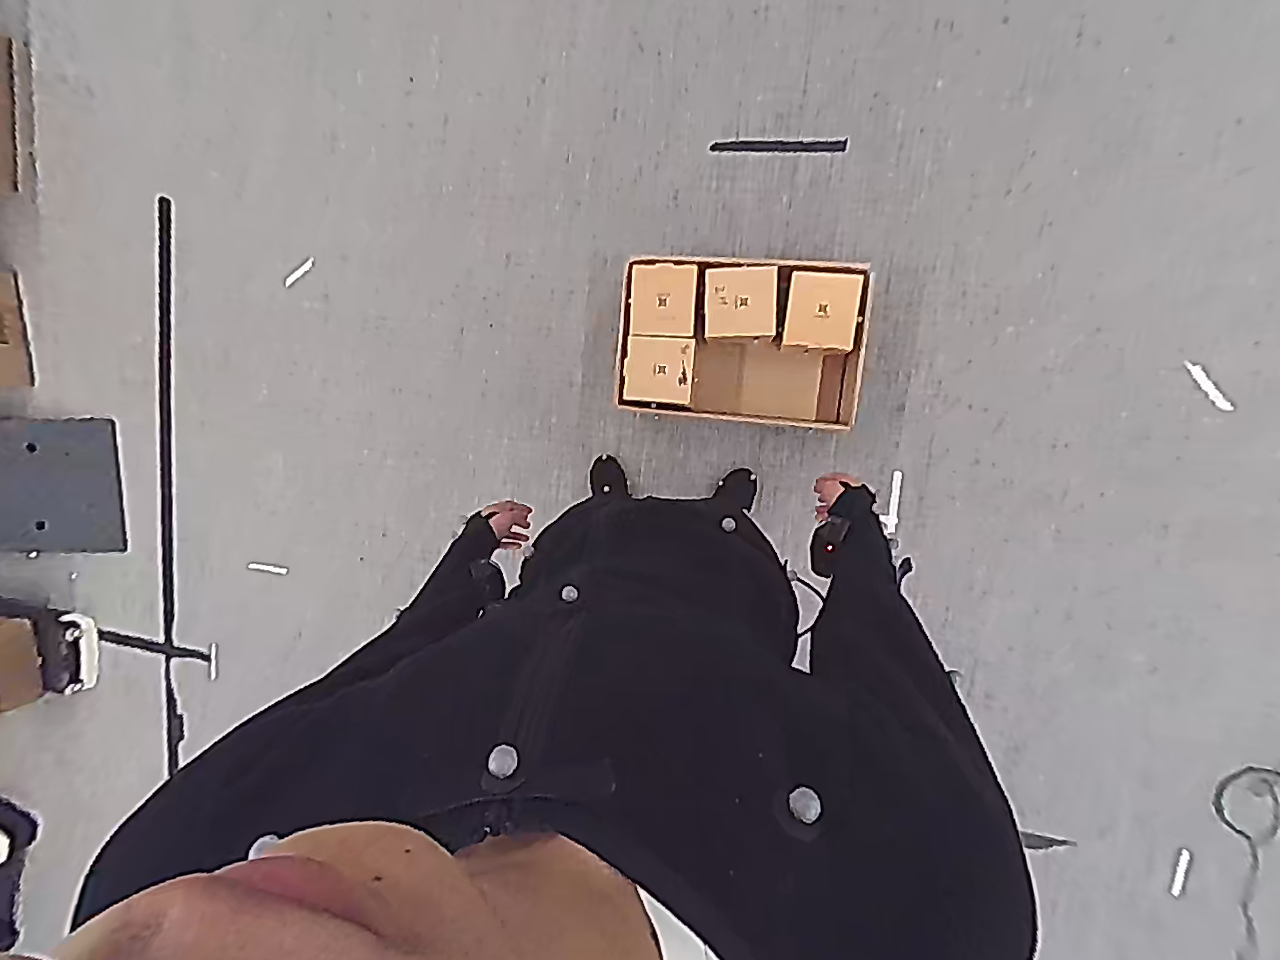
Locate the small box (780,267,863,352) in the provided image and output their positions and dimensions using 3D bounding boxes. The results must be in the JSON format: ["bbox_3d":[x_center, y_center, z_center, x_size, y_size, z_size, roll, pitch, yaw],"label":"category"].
[{"bbox_3d":[0.451,-0.428,1.374,0.168,0.176,0.179,7,101,10],"label":"small box"}]
